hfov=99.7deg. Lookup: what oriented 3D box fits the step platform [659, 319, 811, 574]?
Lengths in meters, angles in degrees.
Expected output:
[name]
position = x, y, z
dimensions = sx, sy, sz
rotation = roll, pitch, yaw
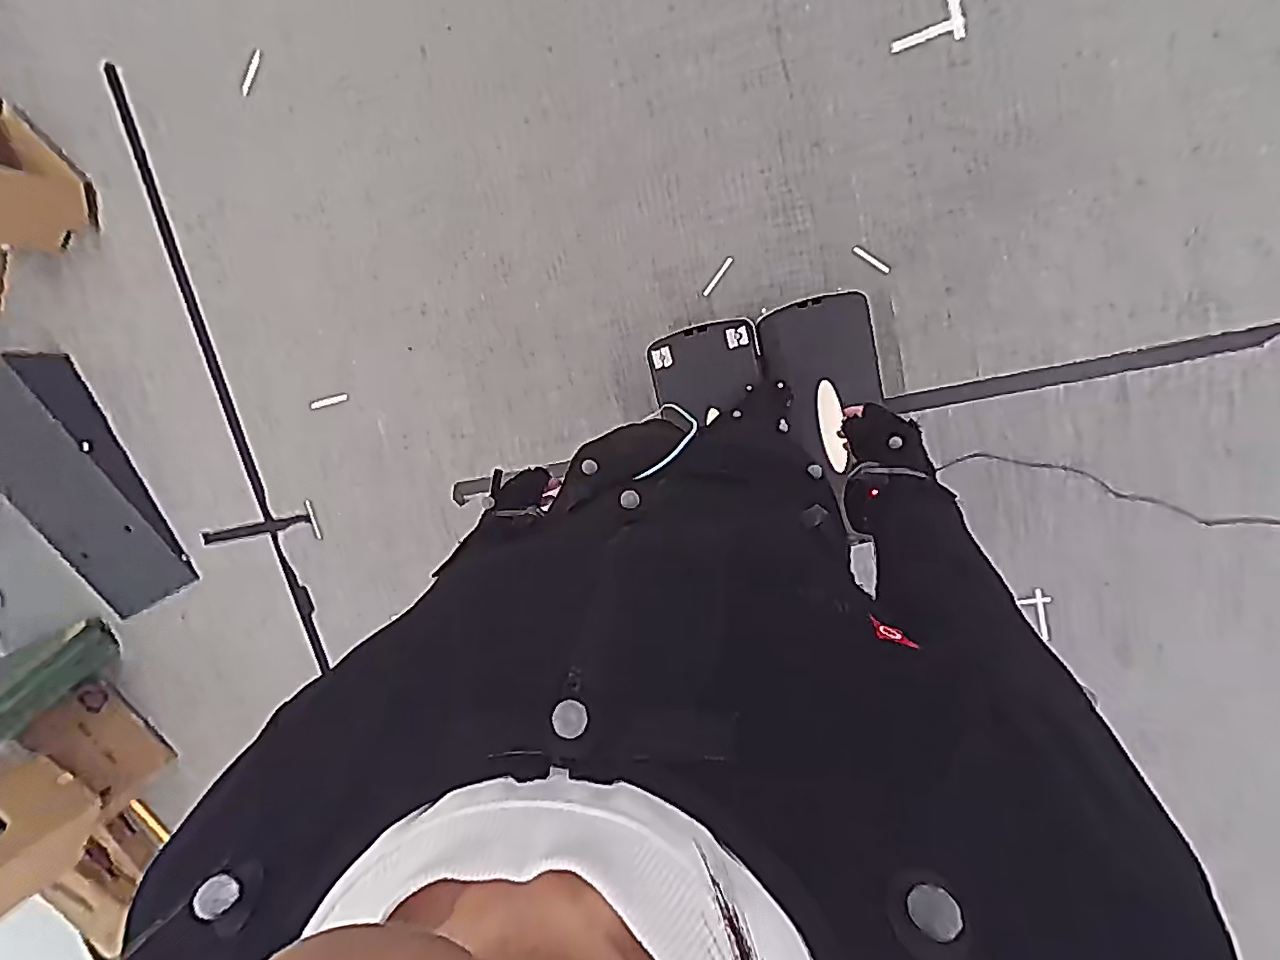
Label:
[step platform]
position = 0.264, -0.084, 1.491
dimensions = 0.286, 0.204, 0.684
rotation = -13, 98, 14
